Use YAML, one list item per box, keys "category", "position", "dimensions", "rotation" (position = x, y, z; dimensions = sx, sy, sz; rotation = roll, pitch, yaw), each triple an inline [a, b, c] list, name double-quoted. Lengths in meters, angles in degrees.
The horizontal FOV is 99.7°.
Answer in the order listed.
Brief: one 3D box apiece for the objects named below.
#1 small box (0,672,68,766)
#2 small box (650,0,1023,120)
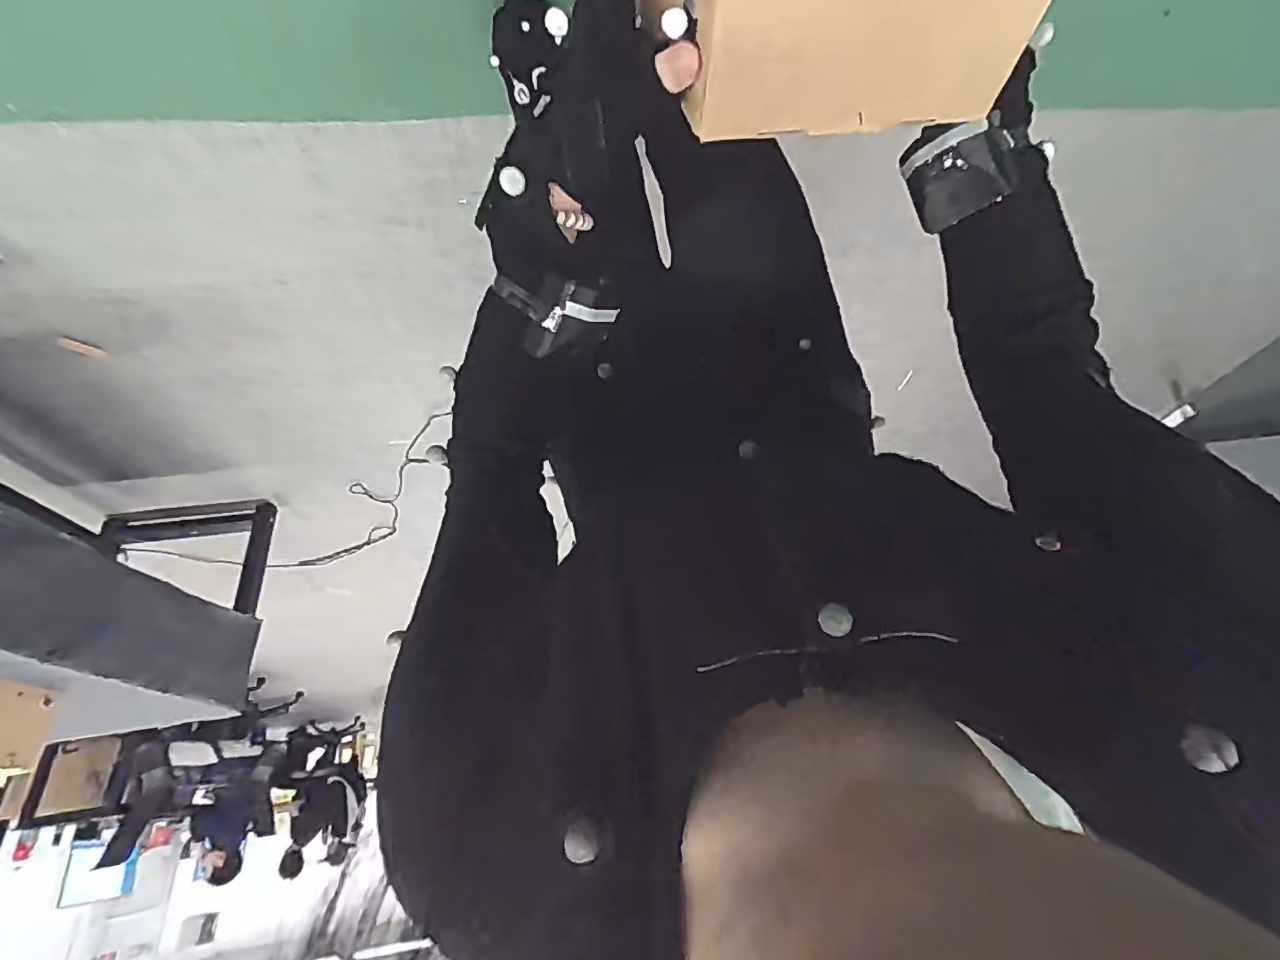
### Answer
- category: "small box"
  position: [-1.415, 0.523, 1.175]
  dimensions: [0.179, 0.176, 0.168]
  rotation: [-5, 150, -5]
- category: "small box"
  position: [0.091, -0.311, 0.254]
  dimensions: [0.168, 0.176, 0.179]
  rotation: [-9, 152, -6]
